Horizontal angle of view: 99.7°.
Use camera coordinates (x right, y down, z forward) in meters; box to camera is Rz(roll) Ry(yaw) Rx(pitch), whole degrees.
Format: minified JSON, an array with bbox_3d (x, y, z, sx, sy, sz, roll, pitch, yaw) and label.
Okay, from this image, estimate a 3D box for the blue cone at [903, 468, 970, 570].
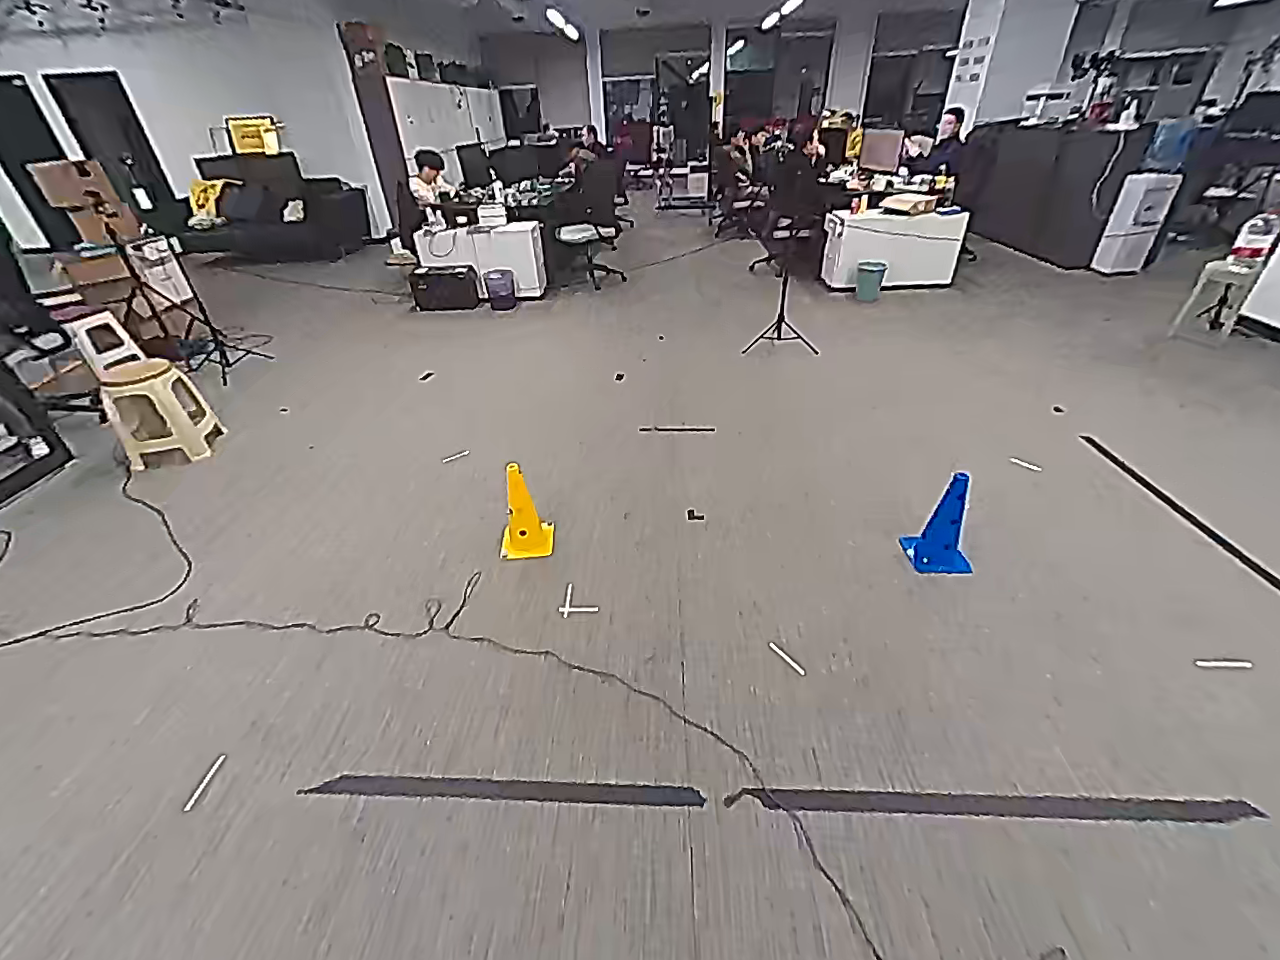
[{"bbox_3d":[1.086,0.130,1.904,0.193,0.380,0.192,0,33,4],"label":"blue cone"}]
